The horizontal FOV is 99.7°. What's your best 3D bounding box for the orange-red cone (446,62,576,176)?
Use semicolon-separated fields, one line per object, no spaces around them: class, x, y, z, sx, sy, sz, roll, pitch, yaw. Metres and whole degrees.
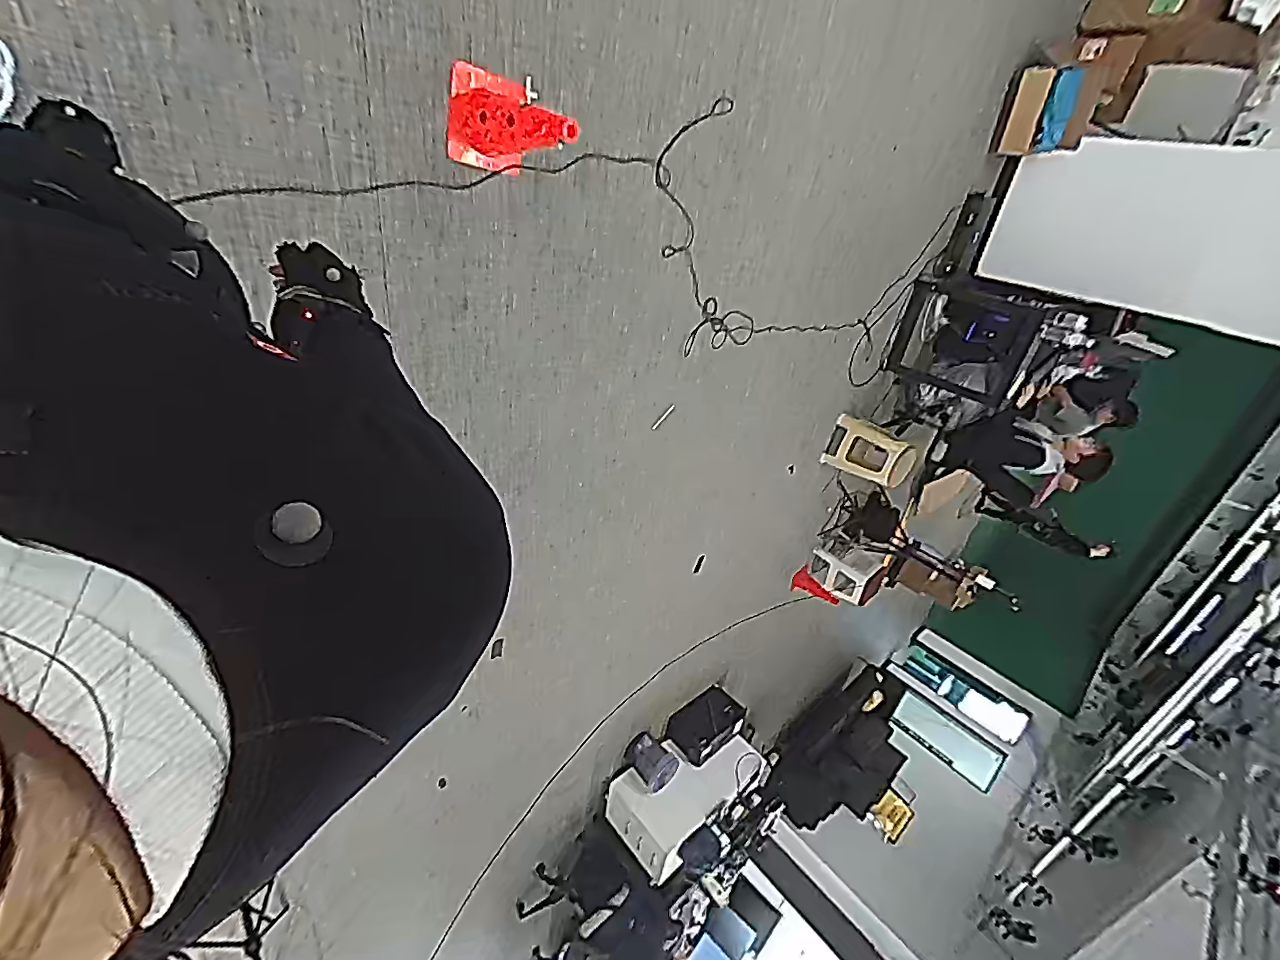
orange-red cone;-0.261;-0.794;1.208;0.199;0.360;0.198;-8;122;-43
